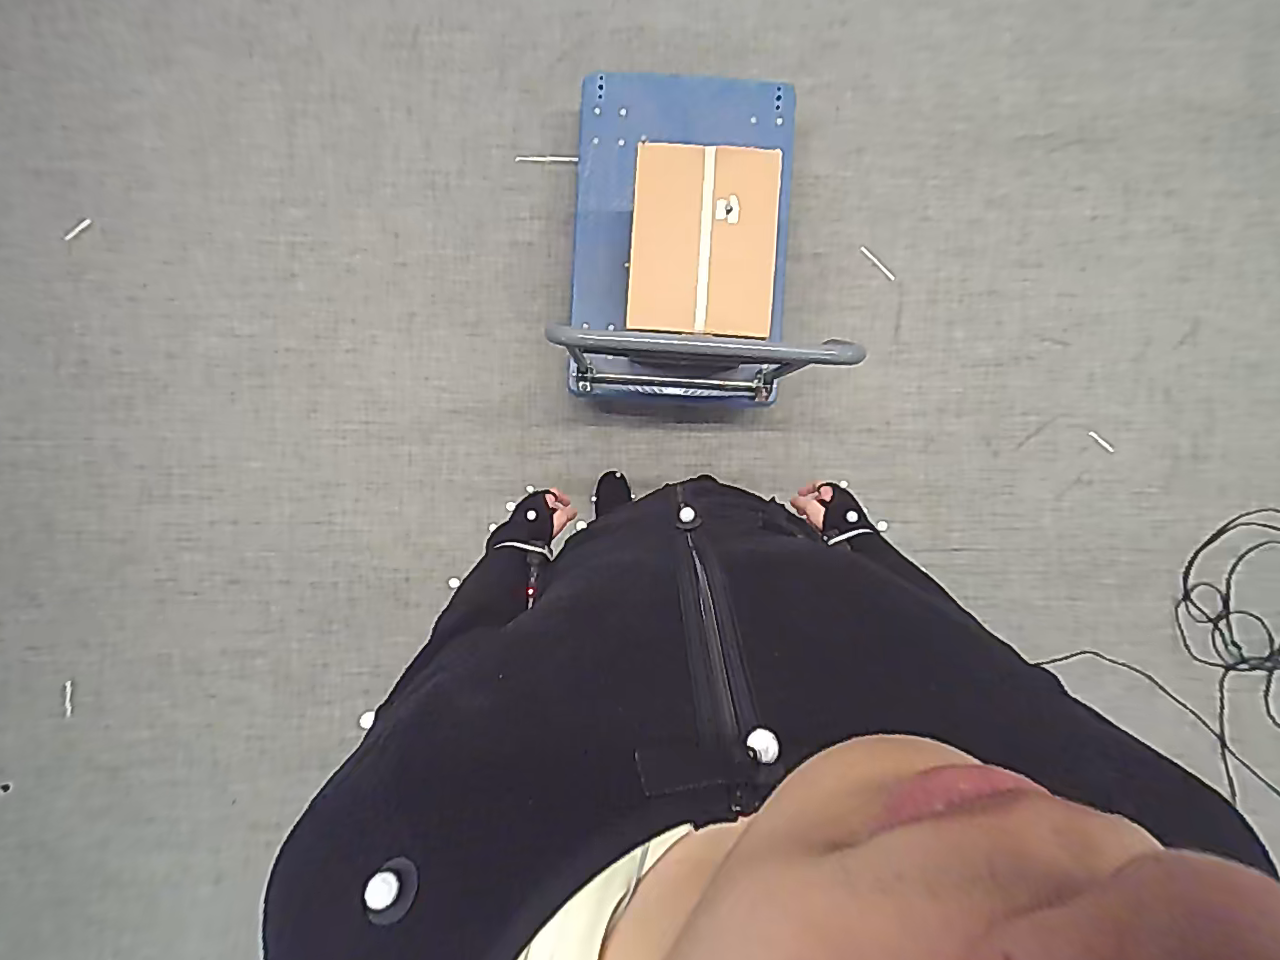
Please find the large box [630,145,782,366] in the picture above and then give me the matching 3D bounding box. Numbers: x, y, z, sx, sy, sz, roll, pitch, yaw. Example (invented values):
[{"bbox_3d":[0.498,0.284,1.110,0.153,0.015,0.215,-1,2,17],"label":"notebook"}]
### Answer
[{"bbox_3d":[0.141,-0.506,1.297,0.320,0.320,0.408,3,90,-1],"label":"large box"}]
